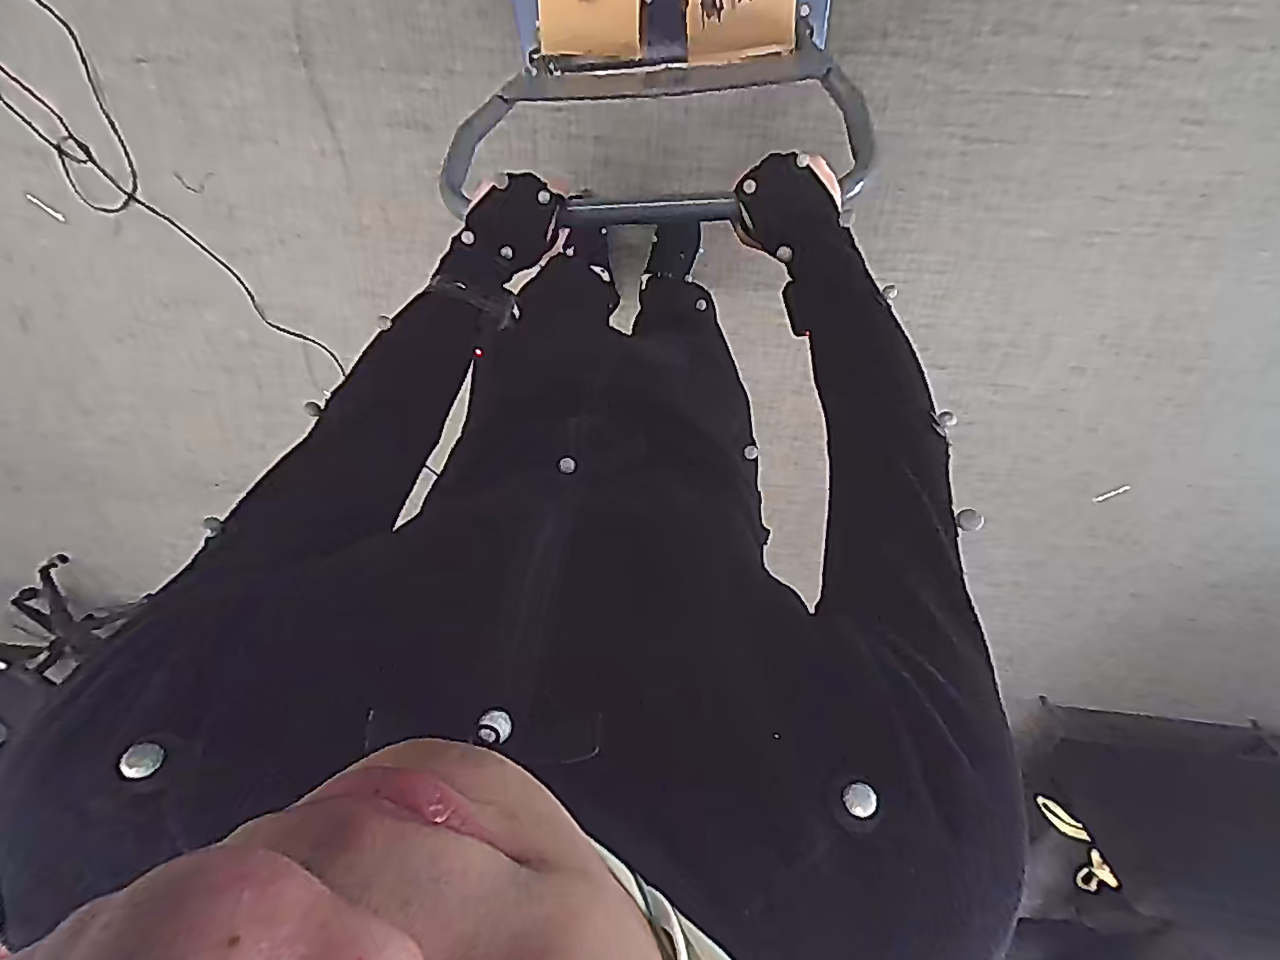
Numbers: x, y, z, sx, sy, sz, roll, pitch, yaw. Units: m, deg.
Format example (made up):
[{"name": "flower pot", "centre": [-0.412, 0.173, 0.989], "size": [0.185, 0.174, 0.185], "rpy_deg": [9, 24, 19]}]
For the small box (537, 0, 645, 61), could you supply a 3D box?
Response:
[{"name": "small box", "centre": [-0.078, -0.828, 0.910], "size": [0.168, 0.176, 0.179], "rpy_deg": [4, 134, 1]}]
